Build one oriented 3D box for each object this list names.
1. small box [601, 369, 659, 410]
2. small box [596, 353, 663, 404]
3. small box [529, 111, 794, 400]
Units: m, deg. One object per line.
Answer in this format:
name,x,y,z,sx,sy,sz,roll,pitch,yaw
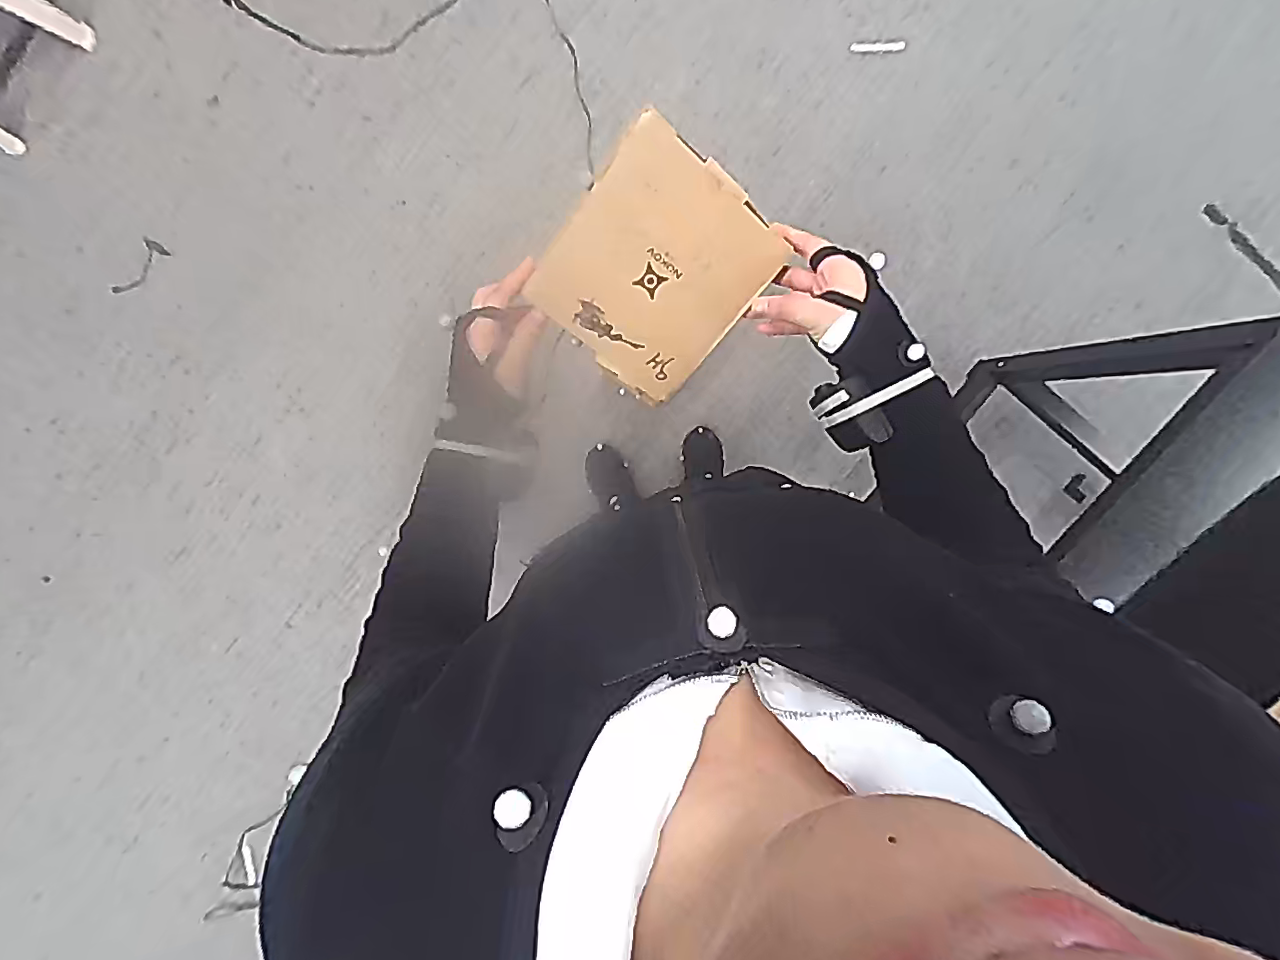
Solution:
small box,0.018,-0.296,1.382,0.168,0.176,0.179,35,96,-3
small box,0.020,-0.284,1.220,0.168,0.176,0.179,32,94,-4
small box,0.011,-0.217,0.529,0.168,0.176,0.179,33,113,-22
